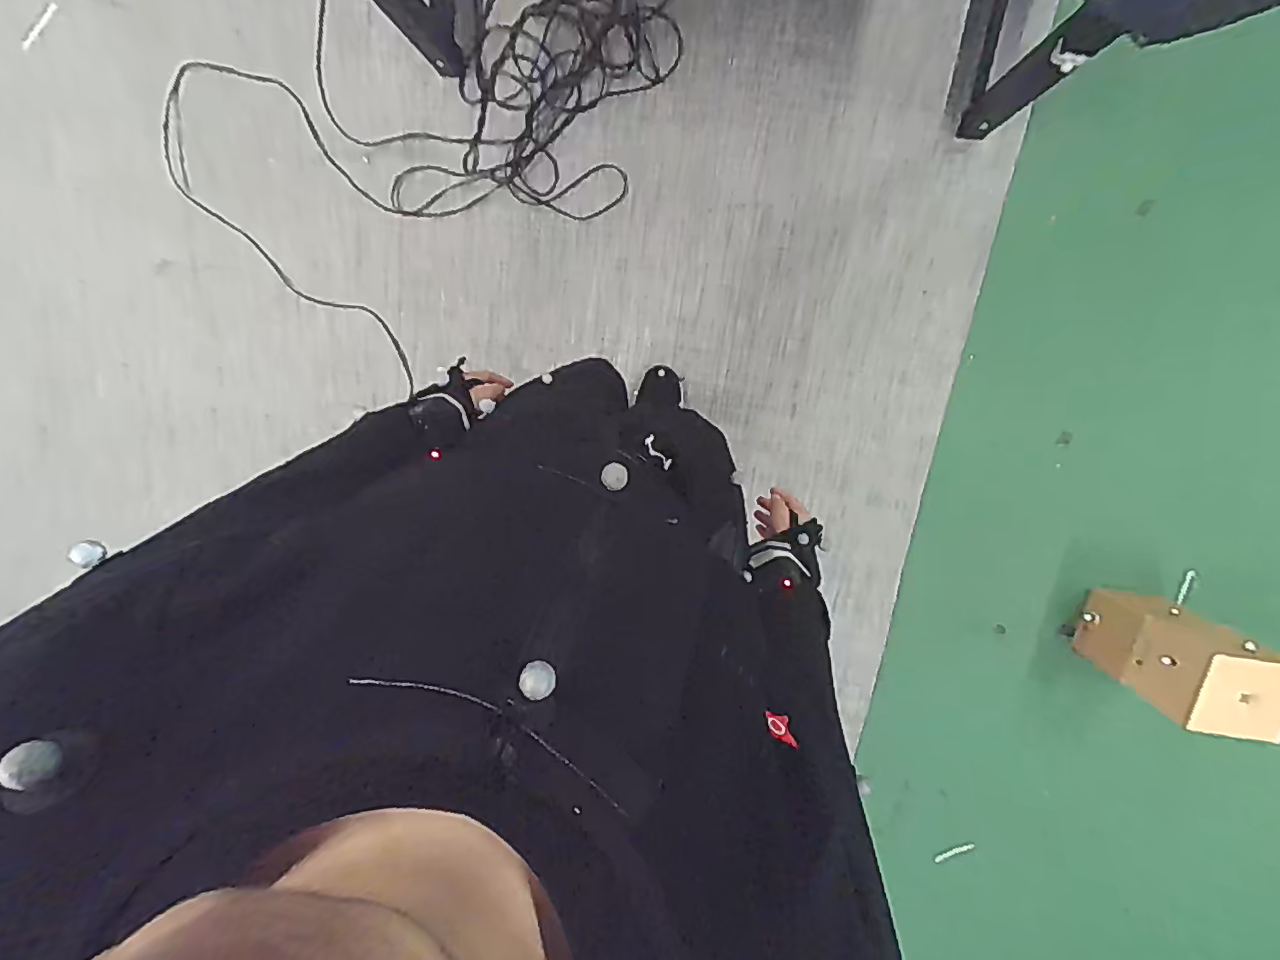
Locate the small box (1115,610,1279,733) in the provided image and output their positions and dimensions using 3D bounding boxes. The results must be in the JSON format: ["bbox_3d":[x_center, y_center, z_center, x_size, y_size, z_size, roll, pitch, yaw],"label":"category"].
[{"bbox_3d":[1.148,0.385,1.115,0.179,0.176,0.168,7,103,2],"label":"small box"}]

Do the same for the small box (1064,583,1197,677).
[{"bbox_3d":[1.164,0.357,1.275,0.179,0.176,0.168,8,103,4],"label":"small box"}]
